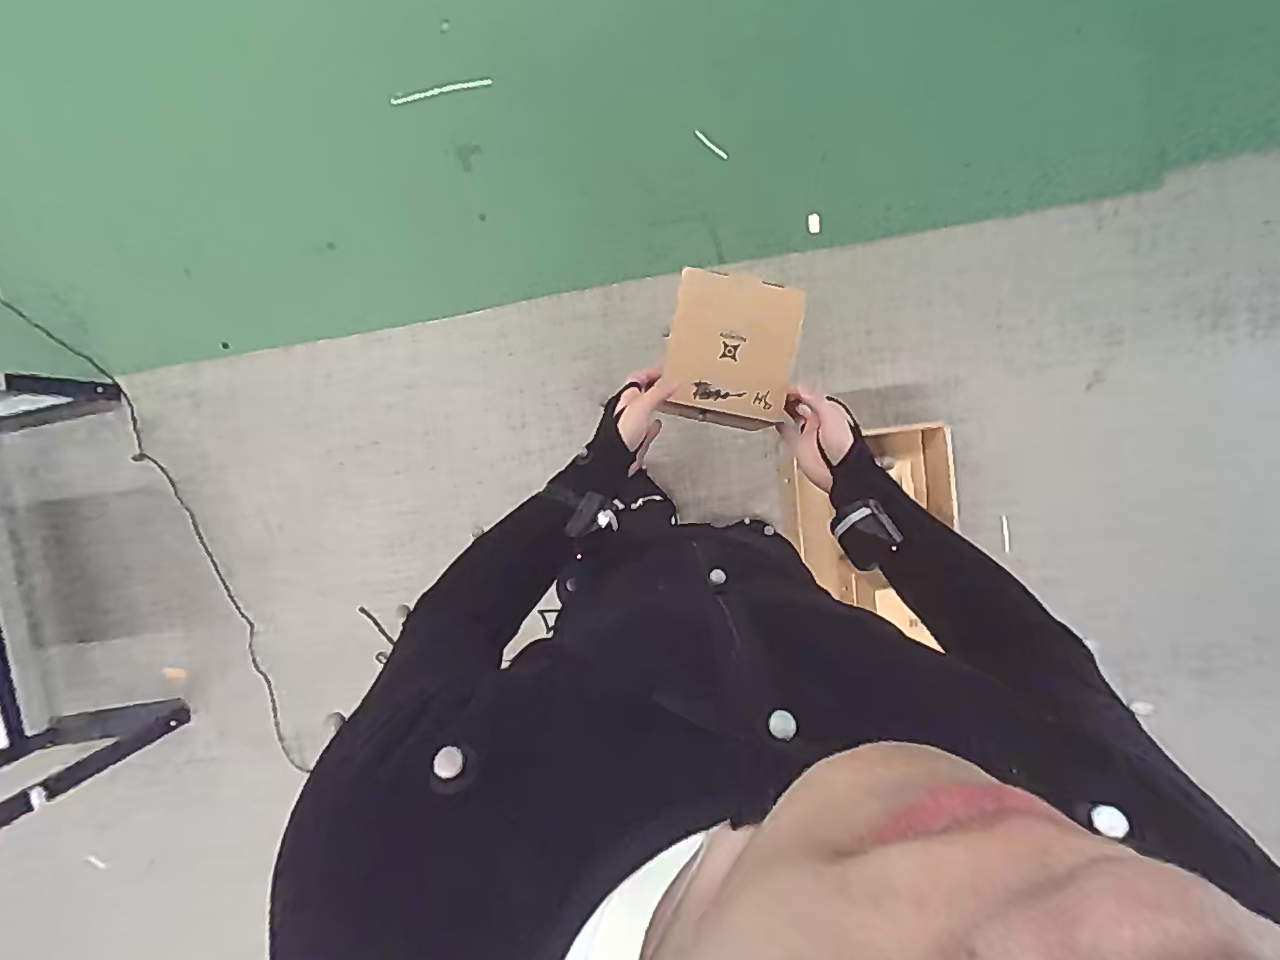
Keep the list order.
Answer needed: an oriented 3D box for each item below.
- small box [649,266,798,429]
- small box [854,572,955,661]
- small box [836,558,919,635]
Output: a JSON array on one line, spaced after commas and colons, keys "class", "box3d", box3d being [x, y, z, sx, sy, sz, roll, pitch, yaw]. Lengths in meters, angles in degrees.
[{"class": "small box", "box3d": [0.108, -0.176, 0.772, 0.168, 0.176, 0.179, 11, 93, 1]}, {"class": "small box", "box3d": [0.625, 0.323, 1.300, 0.179, 0.176, 0.168, -5, 93, 6]}, {"class": "small box", "box3d": [0.639, 0.311, 1.464, 0.179, 0.176, 0.168, -5, 93, 6]}]
